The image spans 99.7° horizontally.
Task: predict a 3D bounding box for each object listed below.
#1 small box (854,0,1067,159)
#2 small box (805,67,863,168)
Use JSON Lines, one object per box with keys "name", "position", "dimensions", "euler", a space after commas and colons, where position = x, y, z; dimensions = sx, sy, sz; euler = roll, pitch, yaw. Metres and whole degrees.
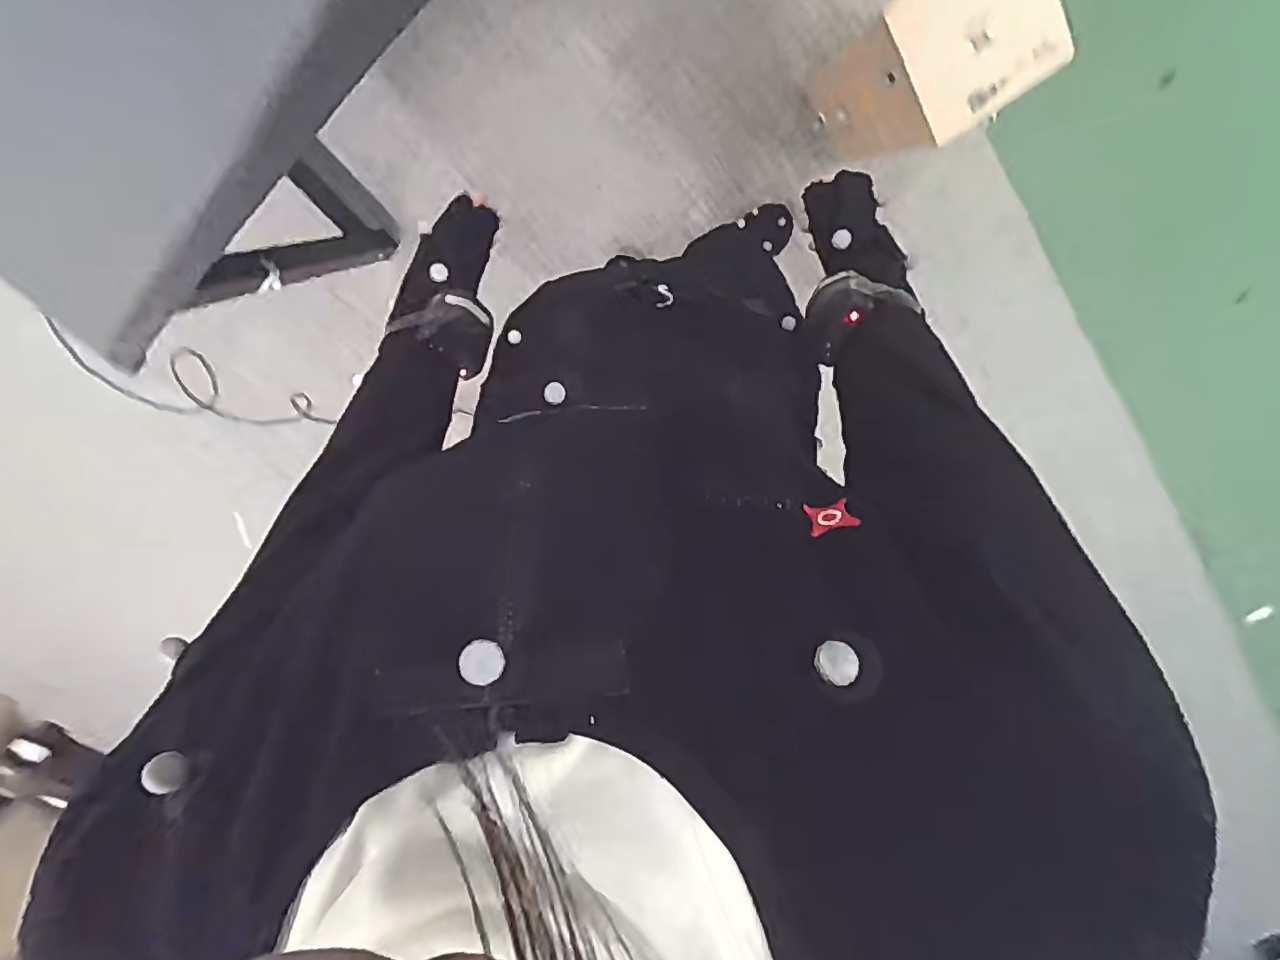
{"name": "small box", "position": [0.410, -0.562, 0.720], "dimensions": [0.168, 0.176, 0.179], "euler": [-29, 110, 20]}
{"name": "small box", "position": [0.431, -0.715, 1.009], "dimensions": [0.179, 0.176, 0.168], "euler": [-31, 110, 22]}
